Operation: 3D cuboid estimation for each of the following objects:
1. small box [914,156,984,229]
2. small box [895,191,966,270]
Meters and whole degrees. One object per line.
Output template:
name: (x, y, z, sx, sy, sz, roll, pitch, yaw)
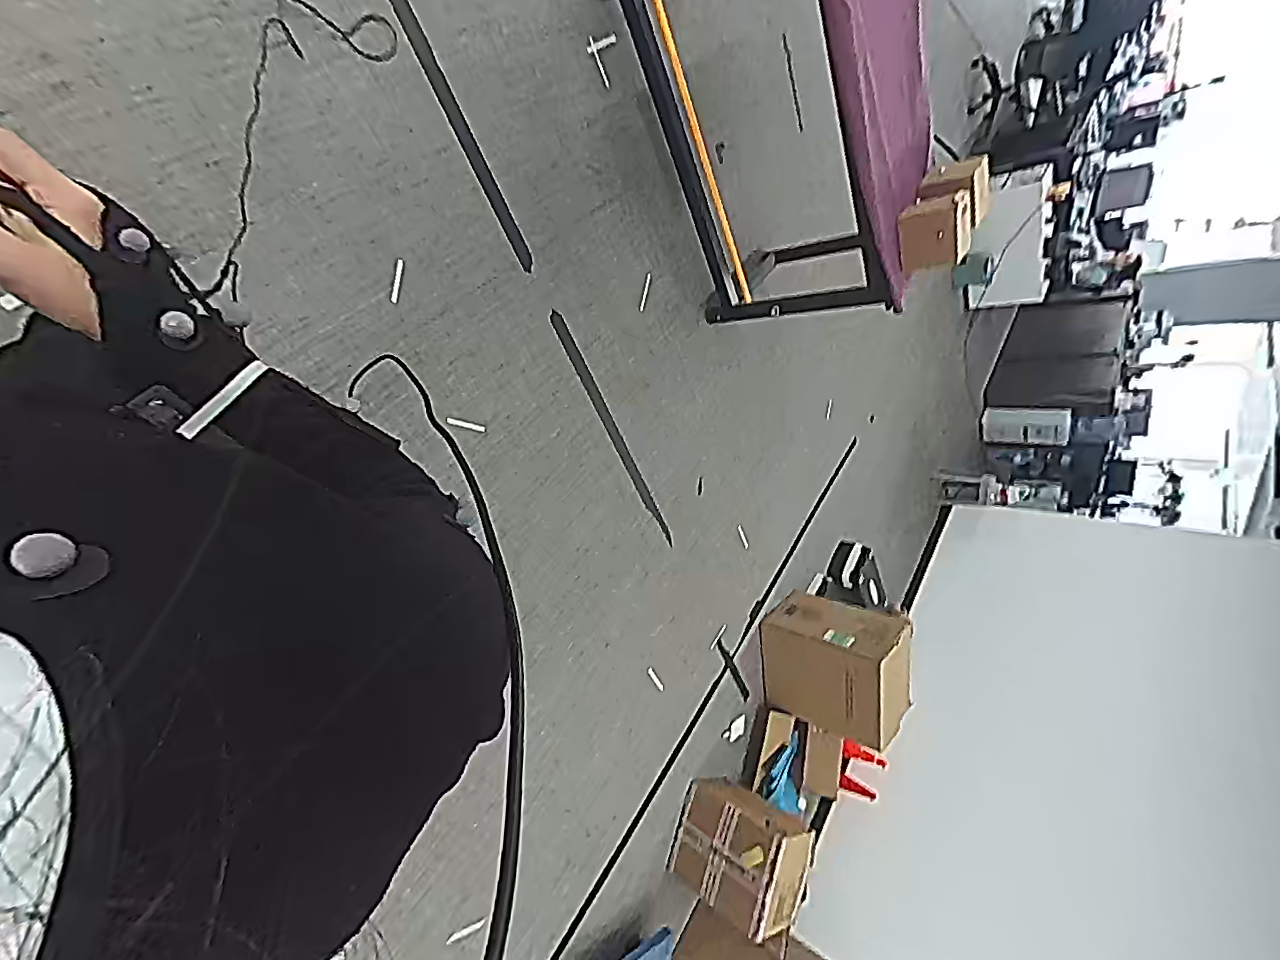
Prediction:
small box: (1.058, -0.968, 1.849, 0.168, 0.176, 0.179, -49, 129, -30)
small box: (0.934, -0.799, 1.741, 0.168, 0.176, 0.179, -45, 127, -35)
